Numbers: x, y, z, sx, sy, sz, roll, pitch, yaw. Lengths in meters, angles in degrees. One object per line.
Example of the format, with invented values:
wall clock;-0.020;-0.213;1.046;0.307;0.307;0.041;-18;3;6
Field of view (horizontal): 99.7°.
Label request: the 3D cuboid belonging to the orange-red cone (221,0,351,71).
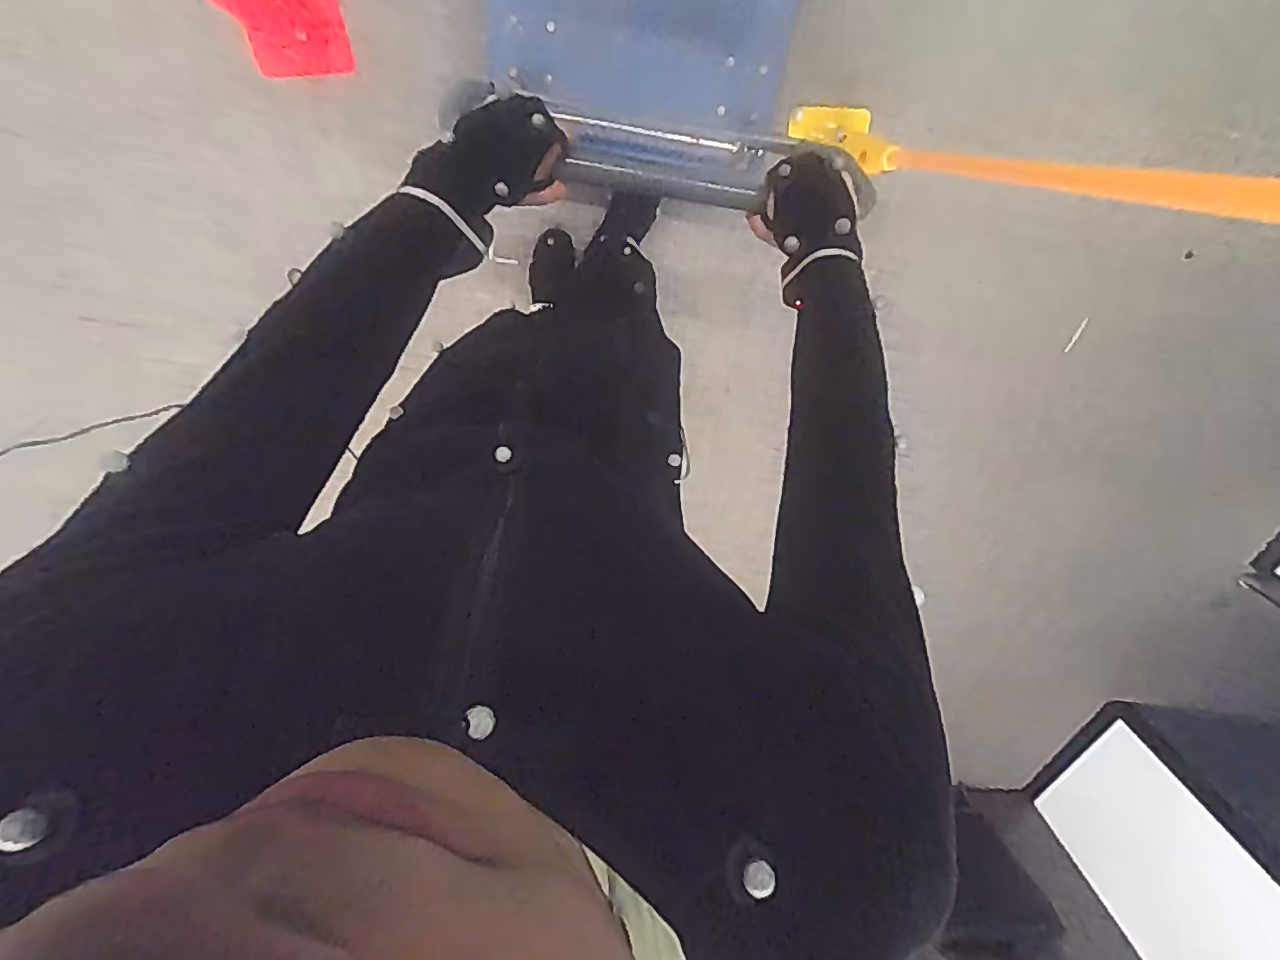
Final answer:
orange-red cone;-0.686;-0.852;0.935;0.199;0.360;0.198;-4;122;-2
